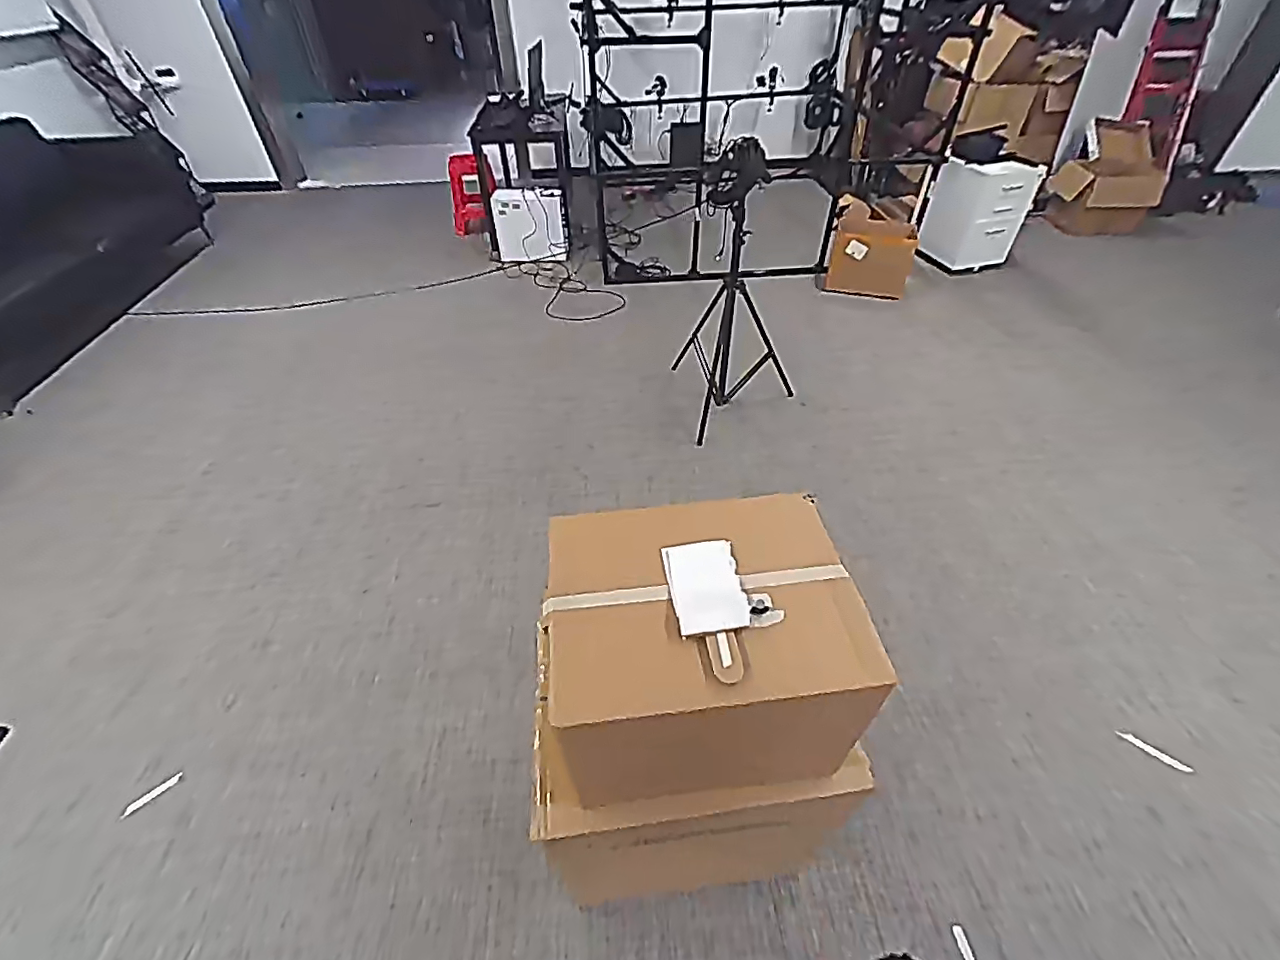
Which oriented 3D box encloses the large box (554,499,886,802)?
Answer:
[{"bbox_3d":[0.085,0.261,0.843,0.408,0.320,0.320,-5,45,-5],"label":"large box"}]
